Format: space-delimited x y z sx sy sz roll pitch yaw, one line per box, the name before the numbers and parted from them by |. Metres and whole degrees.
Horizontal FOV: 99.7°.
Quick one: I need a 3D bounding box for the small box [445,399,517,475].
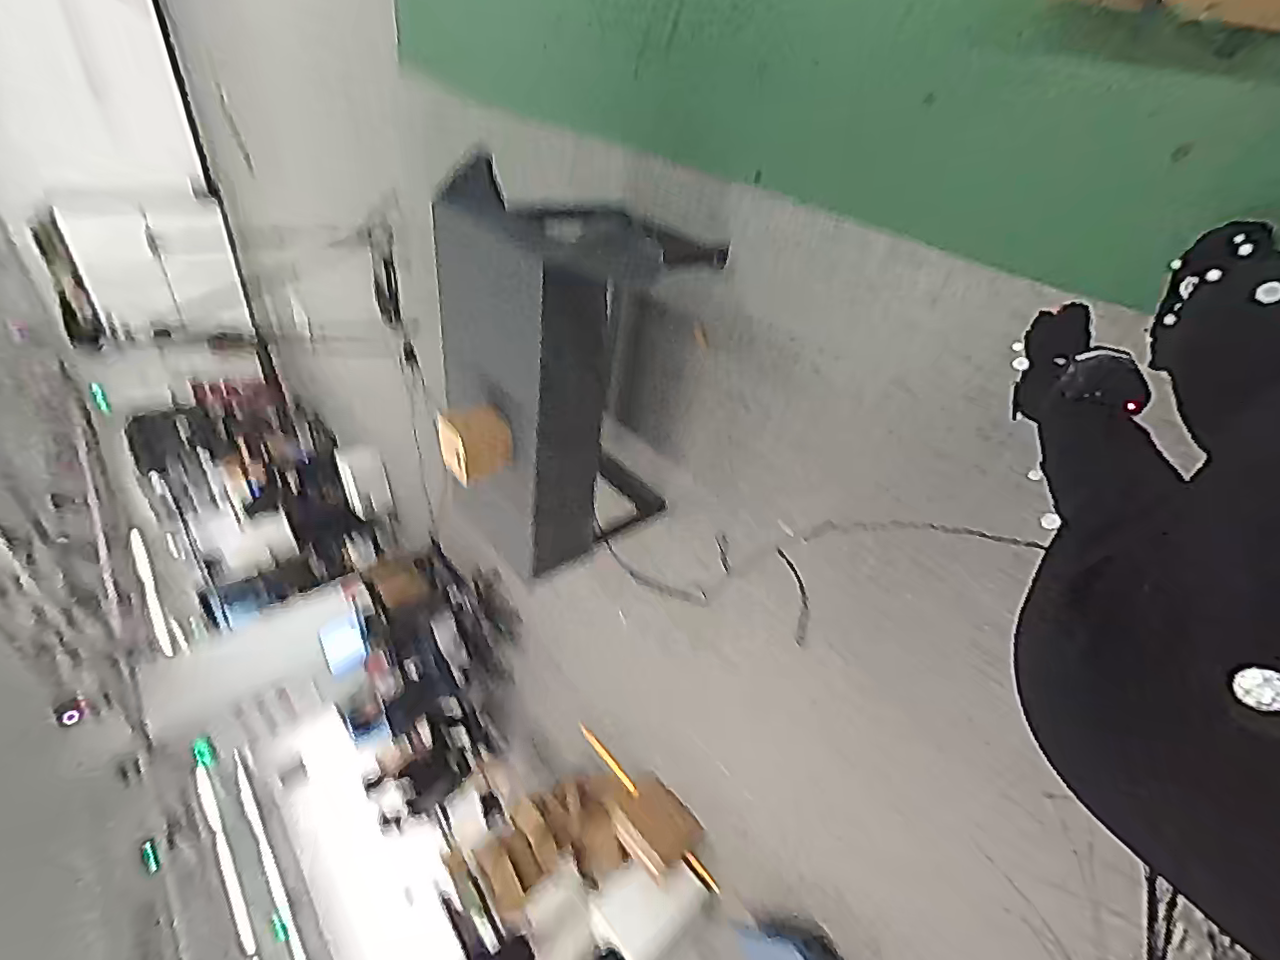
small box | -0.516 -0.148 1.768 0.179 0.176 0.168 40 136 33
